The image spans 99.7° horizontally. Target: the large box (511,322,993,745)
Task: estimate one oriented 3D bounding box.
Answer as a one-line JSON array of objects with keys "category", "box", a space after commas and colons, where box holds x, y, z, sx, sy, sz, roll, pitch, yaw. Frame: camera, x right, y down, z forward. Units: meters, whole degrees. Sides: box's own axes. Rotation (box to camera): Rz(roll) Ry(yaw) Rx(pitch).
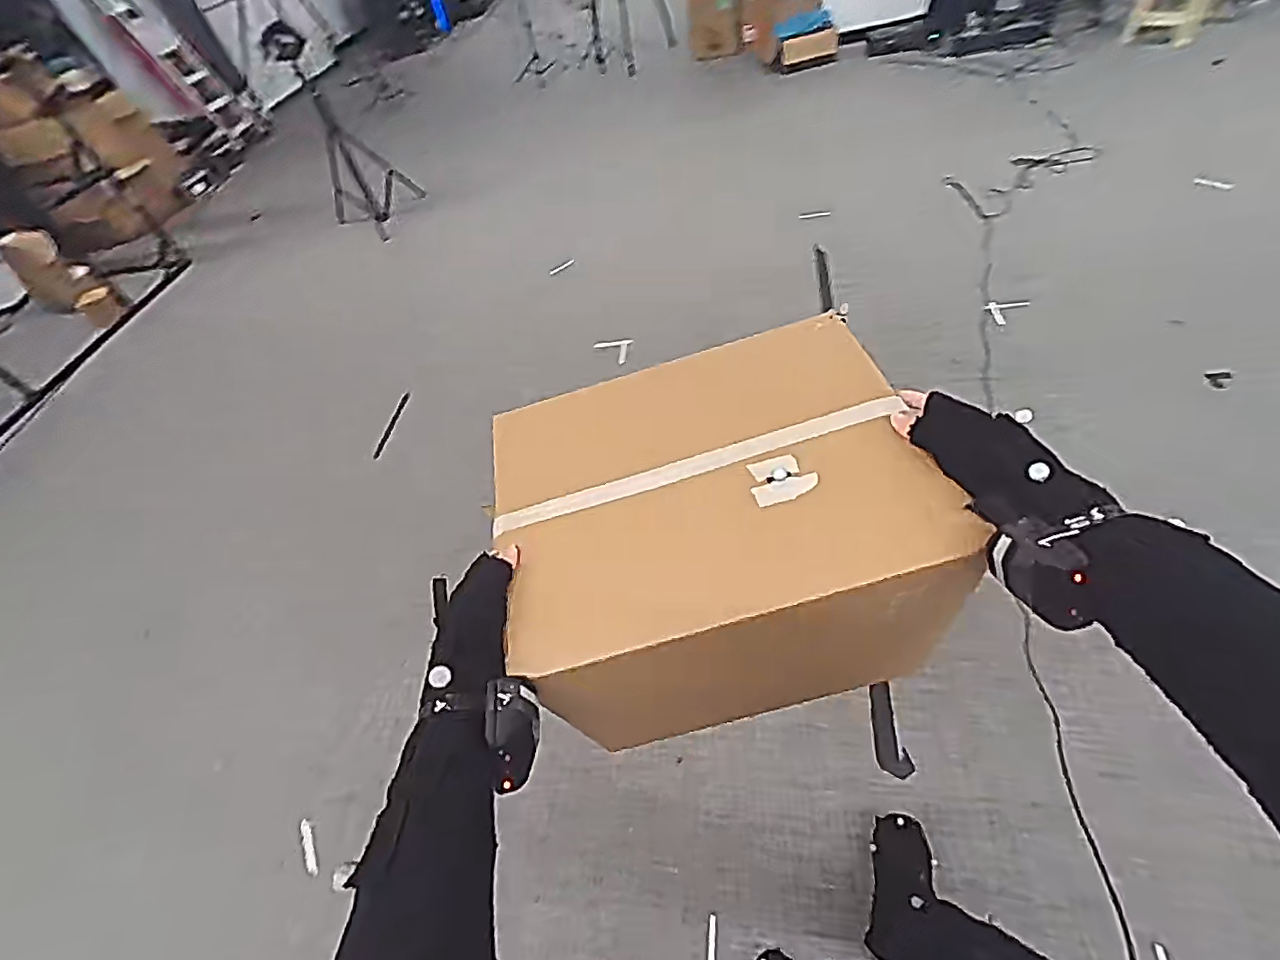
[{"category": "large box", "box": [0.097, 0.078, 0.648, 0.408, 0.320, 0.320, -16, 52, 3]}]
